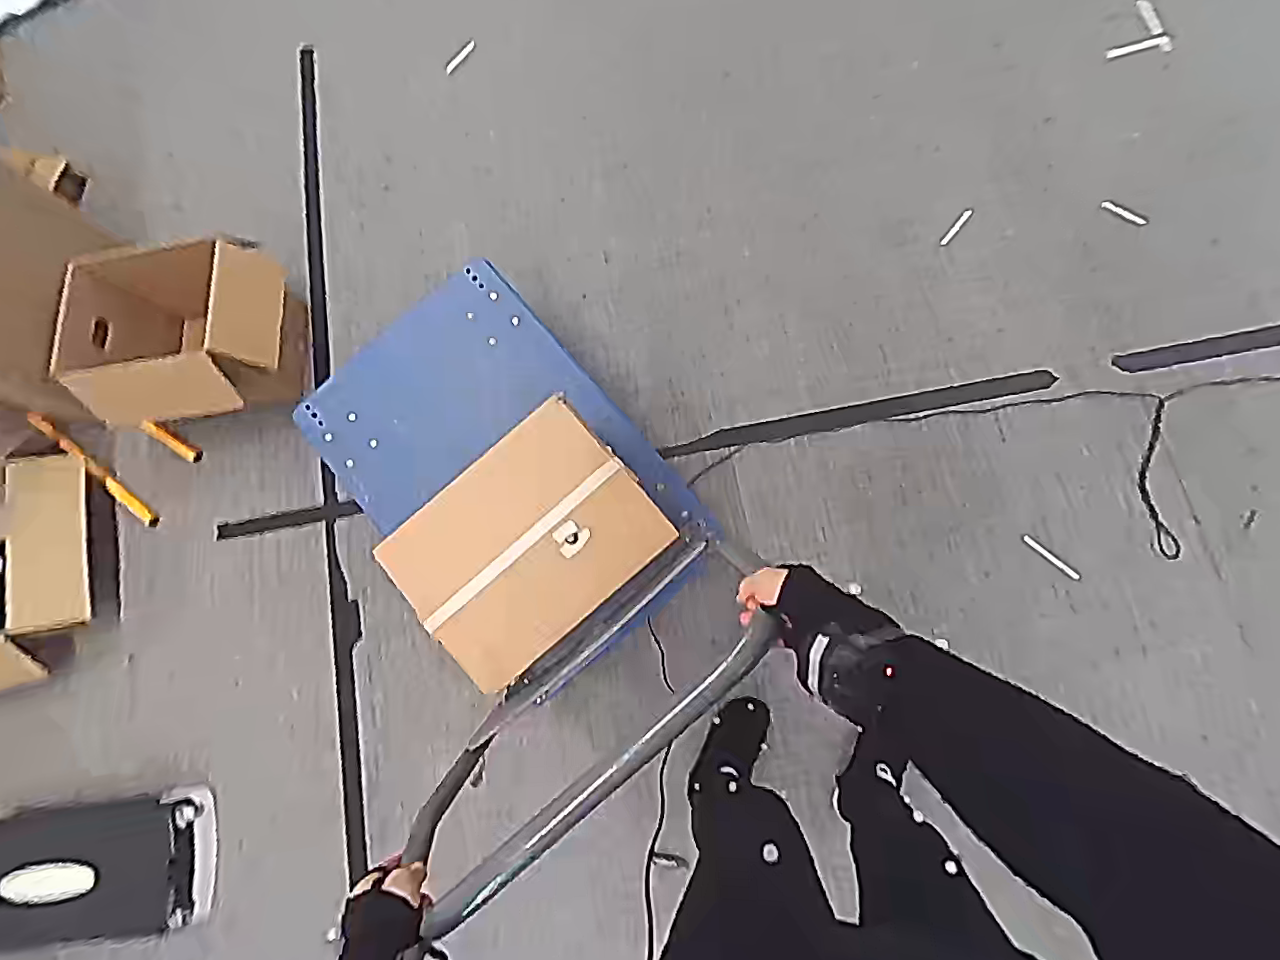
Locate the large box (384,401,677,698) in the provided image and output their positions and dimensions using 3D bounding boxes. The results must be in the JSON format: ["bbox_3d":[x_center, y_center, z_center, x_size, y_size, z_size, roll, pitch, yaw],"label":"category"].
[{"bbox_3d":[-0.178,0.124,1.033,0.408,0.320,0.320,-42,85,-2],"label":"large box"}]
